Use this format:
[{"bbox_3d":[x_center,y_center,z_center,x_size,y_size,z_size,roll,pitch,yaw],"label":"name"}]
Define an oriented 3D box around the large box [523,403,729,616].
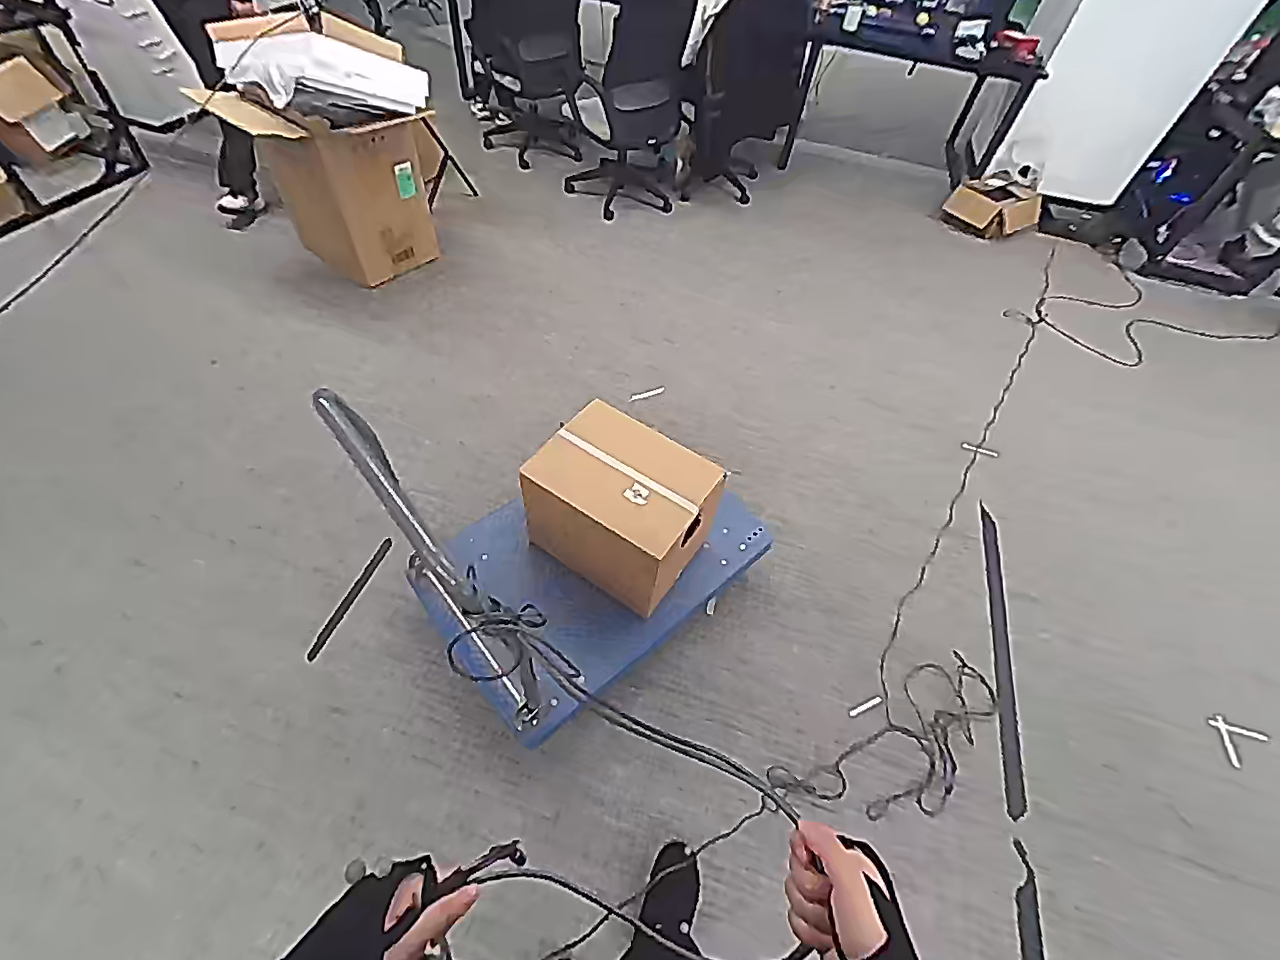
[{"bbox_3d":[-0.046,0.074,1.400,0.408,0.320,0.320,31,56,16],"label":"large box"}]
